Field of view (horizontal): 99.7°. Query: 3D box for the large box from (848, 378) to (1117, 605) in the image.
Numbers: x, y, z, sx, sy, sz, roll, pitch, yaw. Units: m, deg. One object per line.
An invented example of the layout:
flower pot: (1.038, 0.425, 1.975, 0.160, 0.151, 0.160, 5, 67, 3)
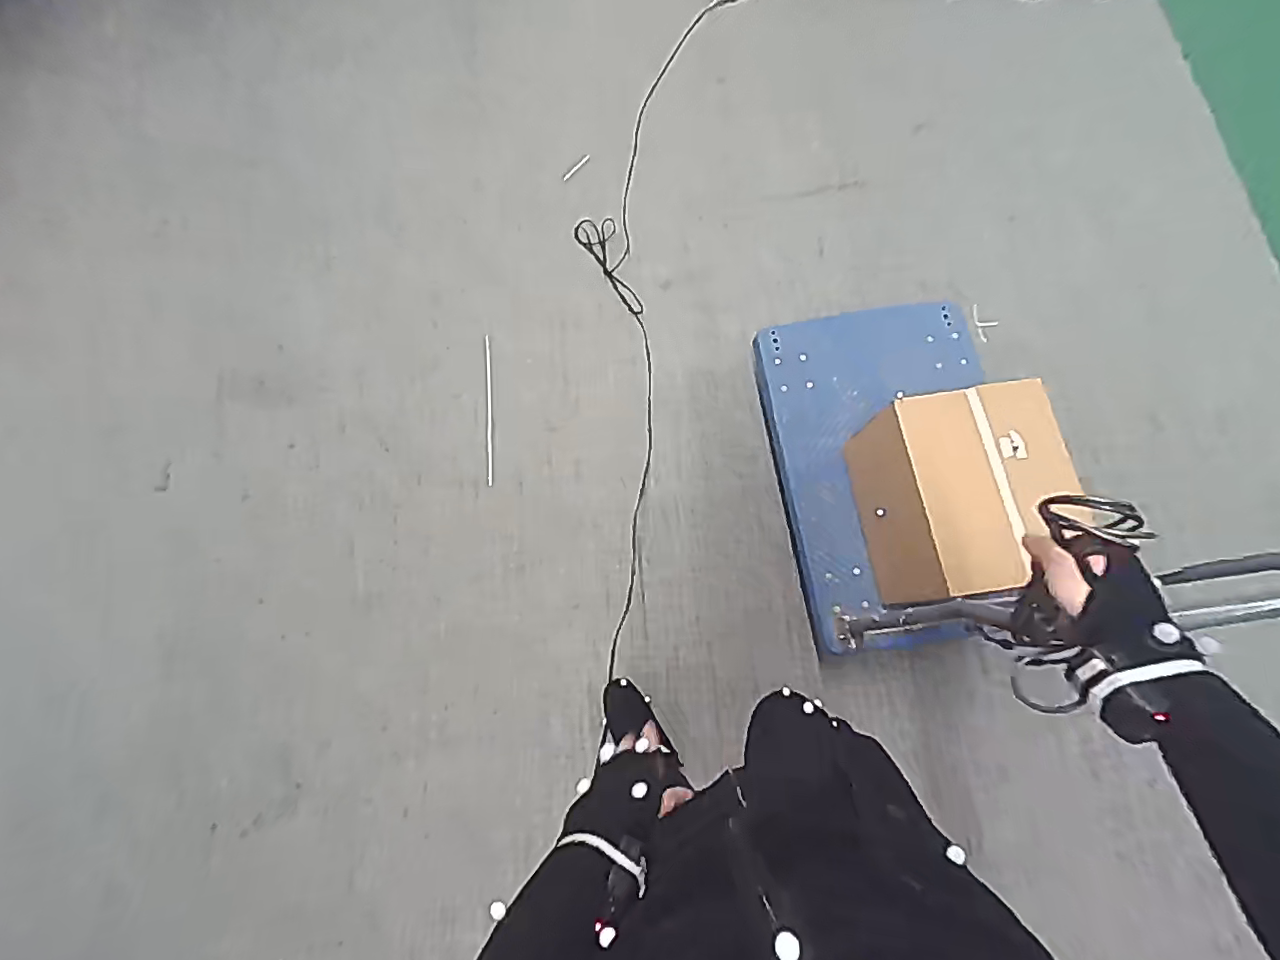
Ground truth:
large box: (0.702, 0.043, 1.186, 0.320, 0.320, 0.408, -8, 74, -2)
